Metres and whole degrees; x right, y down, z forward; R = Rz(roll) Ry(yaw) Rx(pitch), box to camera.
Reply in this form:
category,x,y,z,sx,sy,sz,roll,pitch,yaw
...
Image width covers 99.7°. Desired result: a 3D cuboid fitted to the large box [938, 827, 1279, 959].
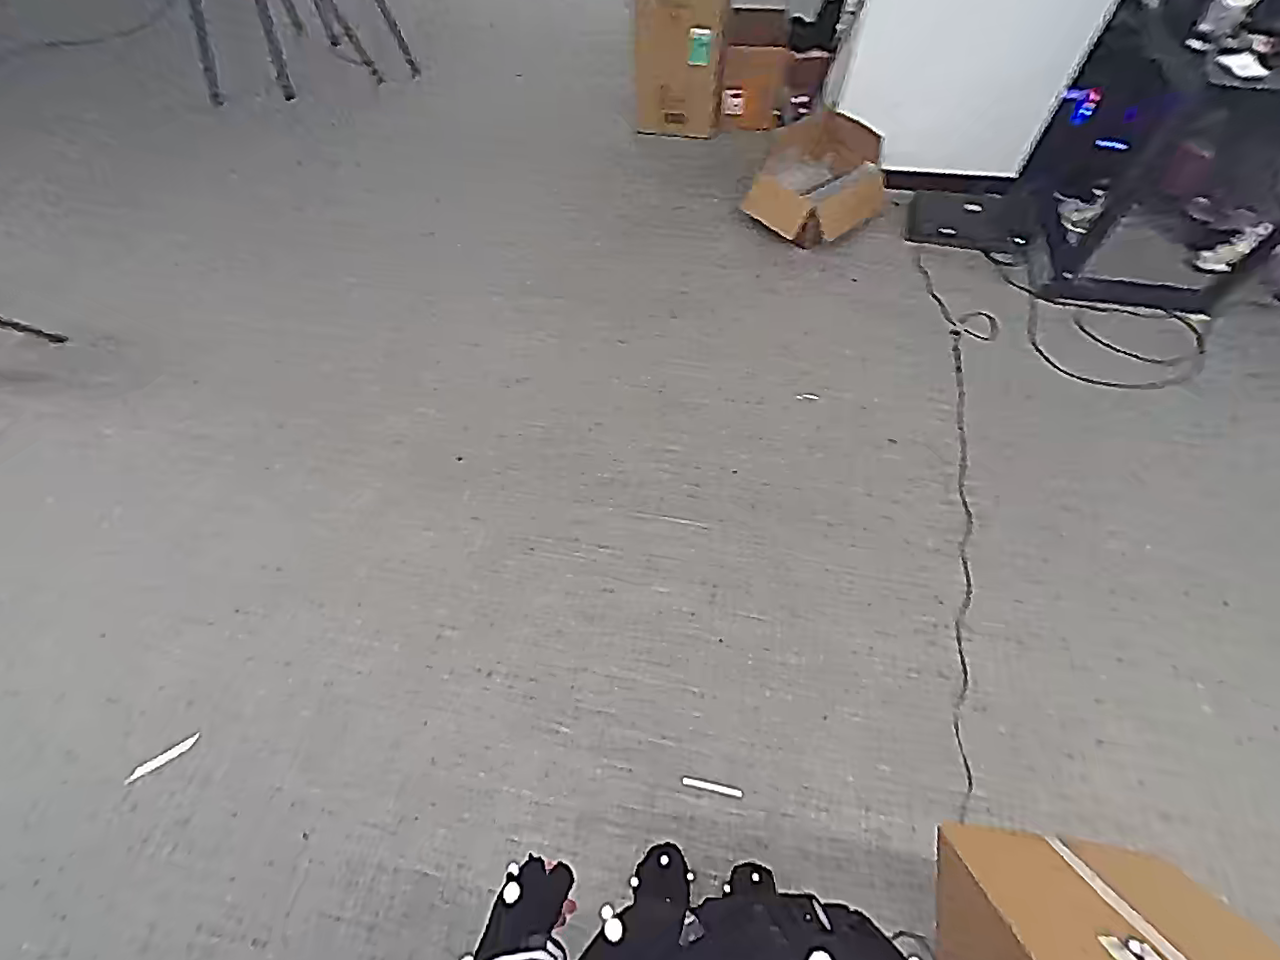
category,x,y,z,sx,sy,sz,roll,pitch,yaw
large box,0.581,0.690,0.624,0.320,0.408,0.320,3,85,11
